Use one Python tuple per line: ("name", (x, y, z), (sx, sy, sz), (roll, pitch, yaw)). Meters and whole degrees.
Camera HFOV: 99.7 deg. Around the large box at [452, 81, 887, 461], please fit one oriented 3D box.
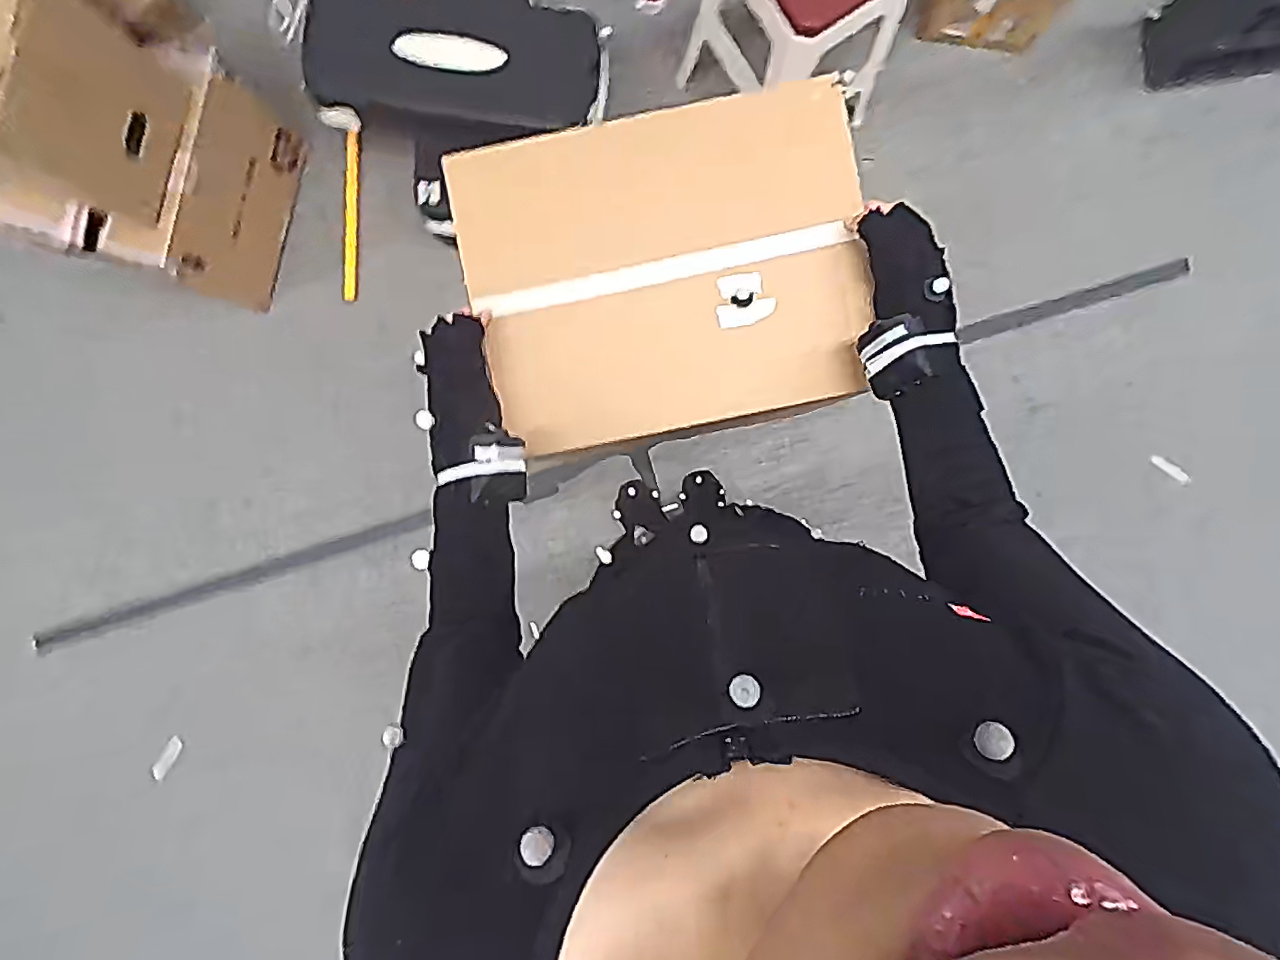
("large box", (0.030, -0.215, 0.698), (0.408, 0.320, 0.320), (-11, 91, 1))
